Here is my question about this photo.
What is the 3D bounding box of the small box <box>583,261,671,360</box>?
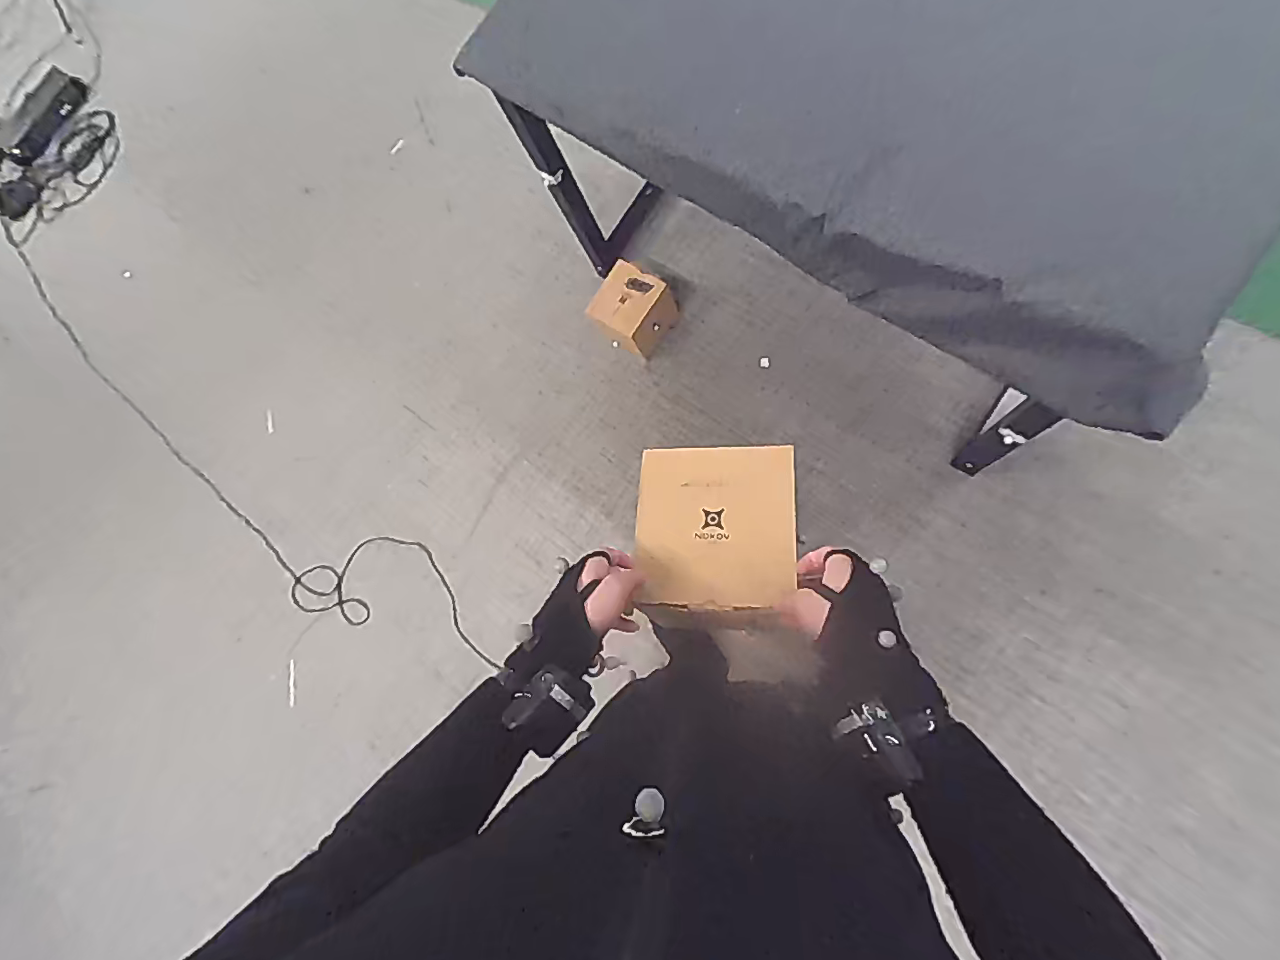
[{"bbox_3d":[-0.027,-0.469,1.515,0.168,0.176,0.179,33,90,18],"label":"small box"}]

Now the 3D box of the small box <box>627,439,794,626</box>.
[{"bbox_3d":[0.090,0.069,0.620,0.168,0.176,0.179,-1,67,13],"label":"small box"}]
